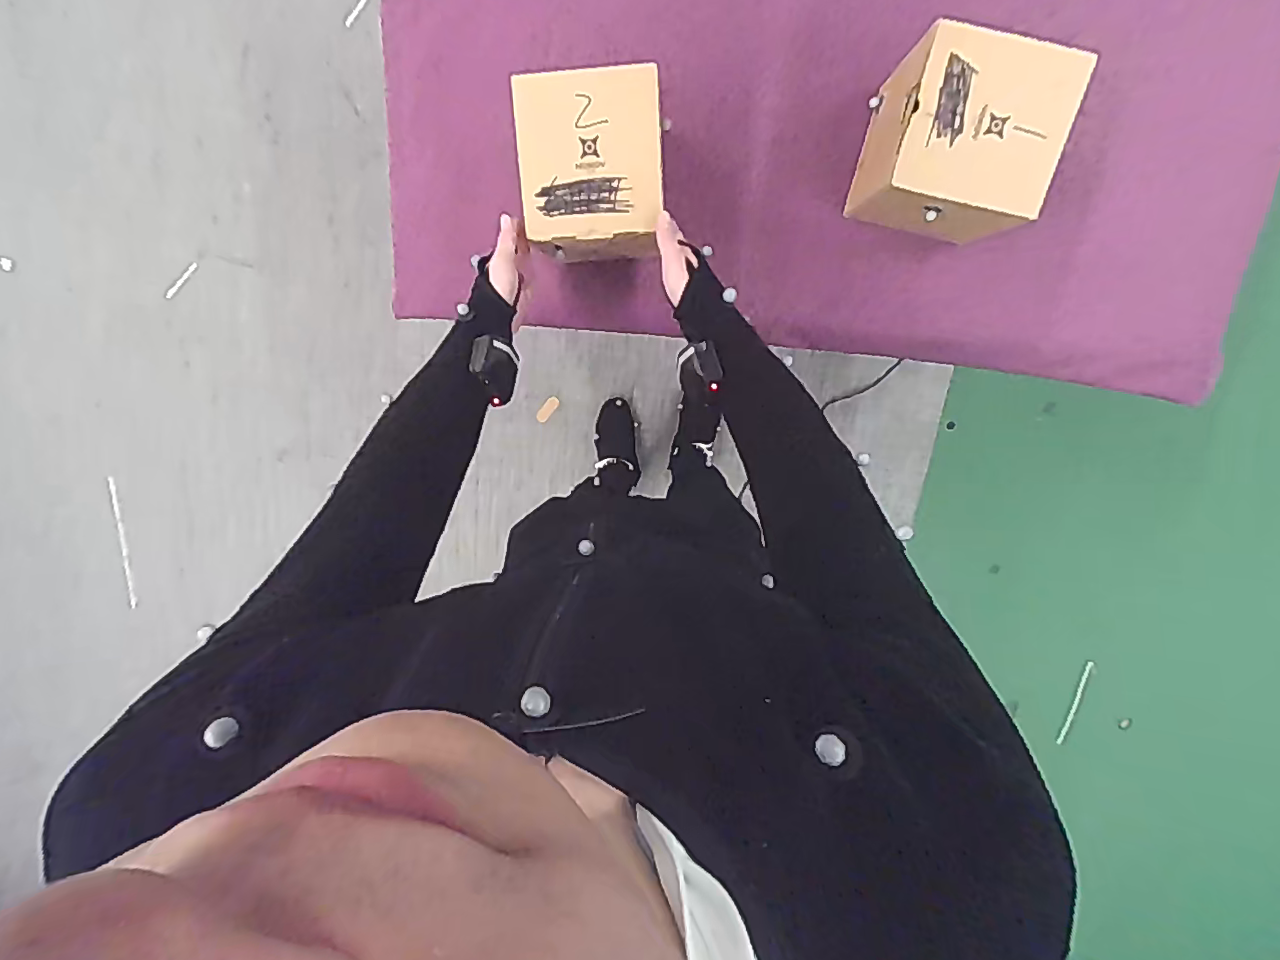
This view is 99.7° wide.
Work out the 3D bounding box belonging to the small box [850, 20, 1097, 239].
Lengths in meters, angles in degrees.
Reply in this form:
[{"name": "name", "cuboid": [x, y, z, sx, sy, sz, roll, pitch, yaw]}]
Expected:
[{"name": "small box", "cuboid": [0.385, -0.410, 0.667, 0.179, 0.176, 0.168, 12, 106, -1]}]
